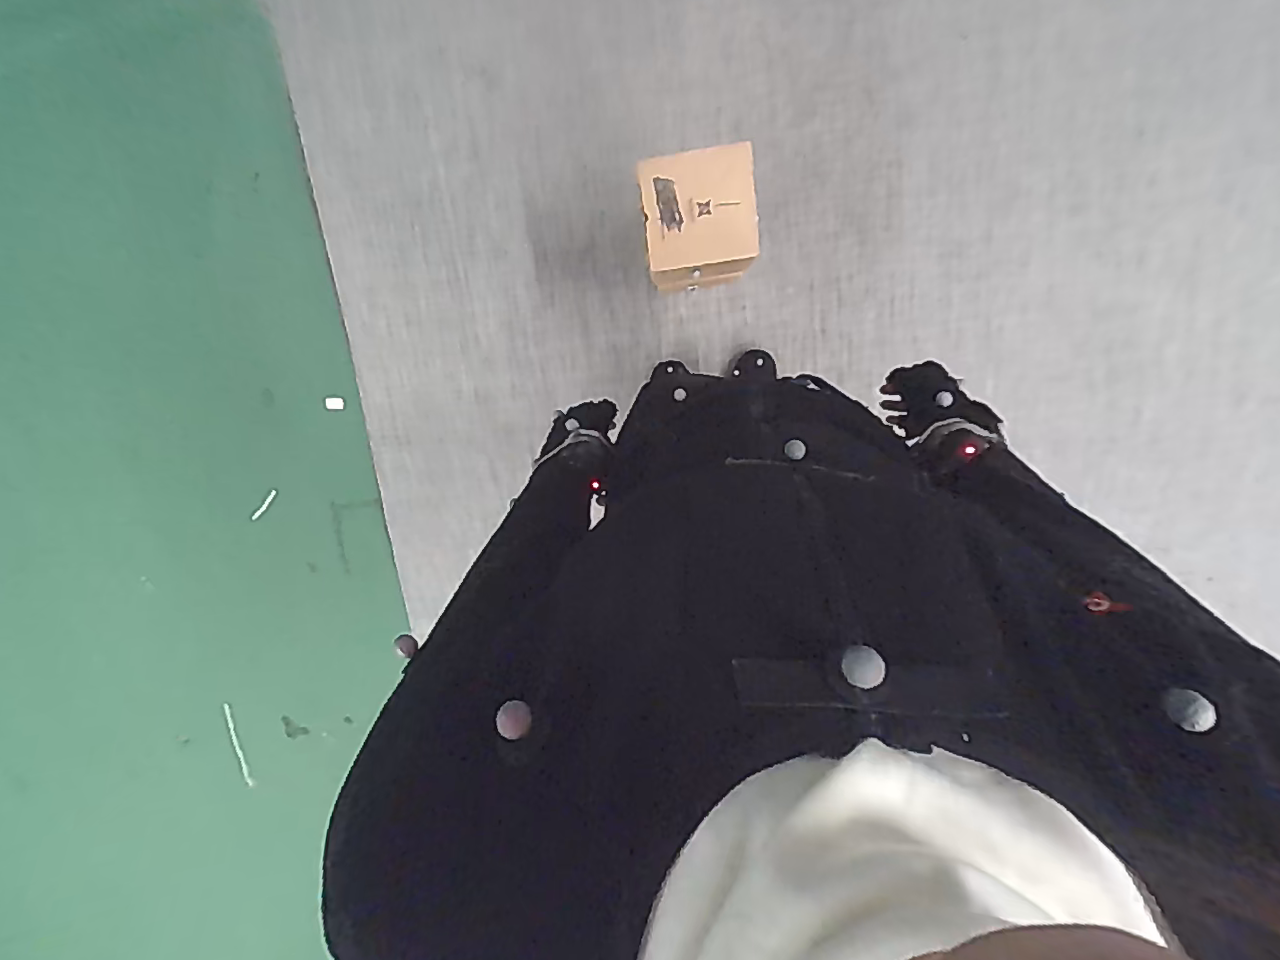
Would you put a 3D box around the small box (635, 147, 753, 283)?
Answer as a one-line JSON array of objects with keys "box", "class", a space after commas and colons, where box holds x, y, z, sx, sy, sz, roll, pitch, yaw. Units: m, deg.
[{"box": [0.093, -0.442, 0.929, 0.179, 0.176, 0.168, -6, 104, 6], "class": "small box"}]

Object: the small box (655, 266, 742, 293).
[{"box": [0.105, -0.479, 1.072, 0.168, 0.176, 0.179, -7, 105, 7], "class": "small box"}]
